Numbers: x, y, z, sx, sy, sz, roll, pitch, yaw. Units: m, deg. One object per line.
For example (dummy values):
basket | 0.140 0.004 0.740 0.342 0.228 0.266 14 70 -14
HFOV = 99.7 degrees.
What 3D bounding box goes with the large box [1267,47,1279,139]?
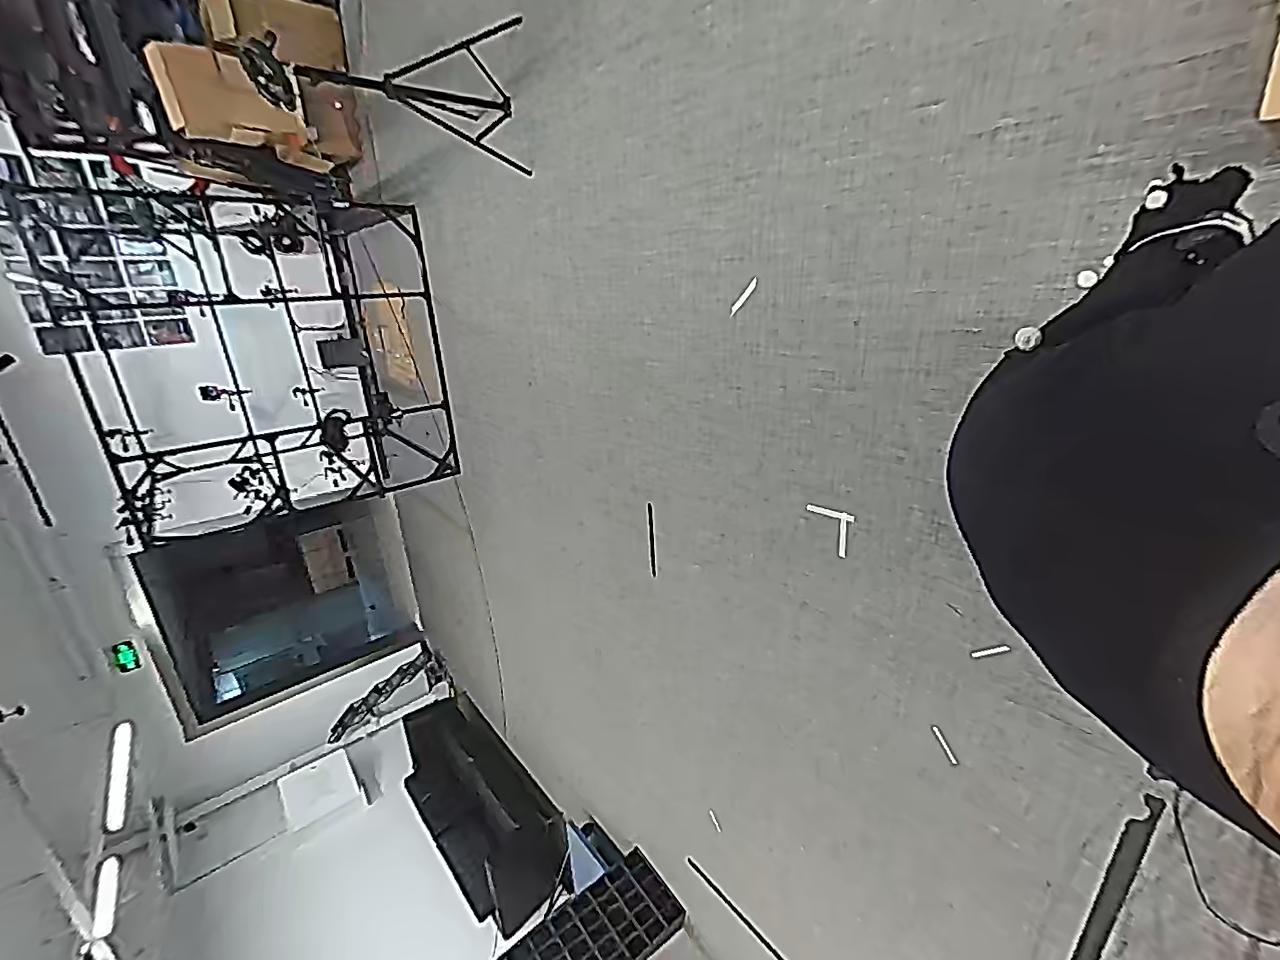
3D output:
large box | 1.092 -0.653 0.646 0.408 0.320 0.320 16 118 48
